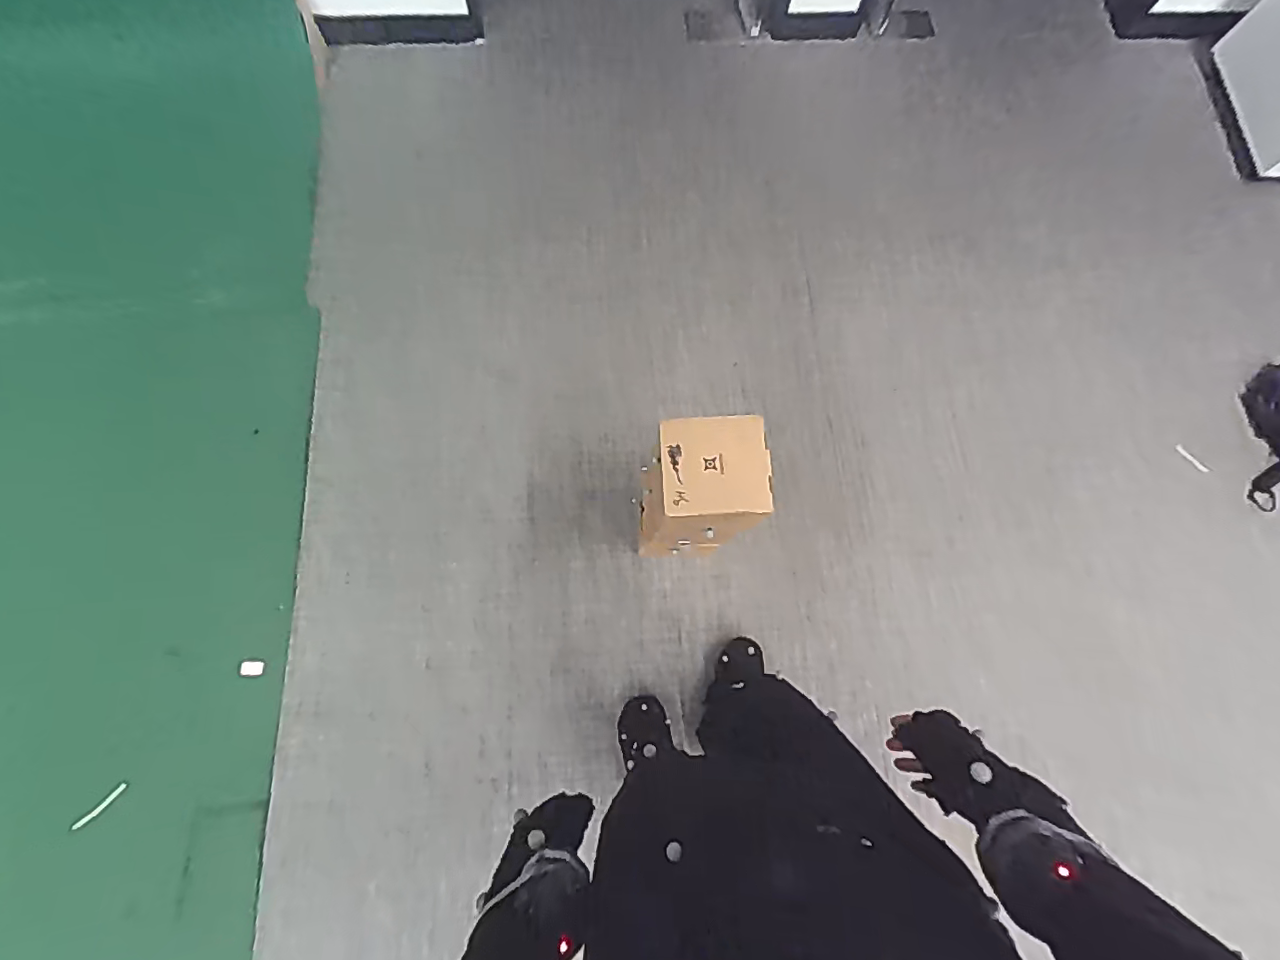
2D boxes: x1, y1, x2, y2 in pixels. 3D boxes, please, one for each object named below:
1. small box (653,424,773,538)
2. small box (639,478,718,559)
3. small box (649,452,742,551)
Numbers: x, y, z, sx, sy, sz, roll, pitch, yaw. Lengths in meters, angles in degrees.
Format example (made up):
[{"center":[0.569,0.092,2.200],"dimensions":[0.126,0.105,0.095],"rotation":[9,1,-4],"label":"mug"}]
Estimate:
[{"center":[0.119,0.007,0.953],"dimensions":[0.179,0.176,0.168],"rotation":[-2,75,-3],"label":"small box"},{"center":[0.087,0.095,1.266],"dimensions":[0.179,0.176,0.168],"rotation":[0,75,-3],"label":"small box"},{"center":[0.106,0.047,1.113],"dimensions":[0.168,0.176,0.179],"rotation":[-2,76,-2],"label":"small box"}]
